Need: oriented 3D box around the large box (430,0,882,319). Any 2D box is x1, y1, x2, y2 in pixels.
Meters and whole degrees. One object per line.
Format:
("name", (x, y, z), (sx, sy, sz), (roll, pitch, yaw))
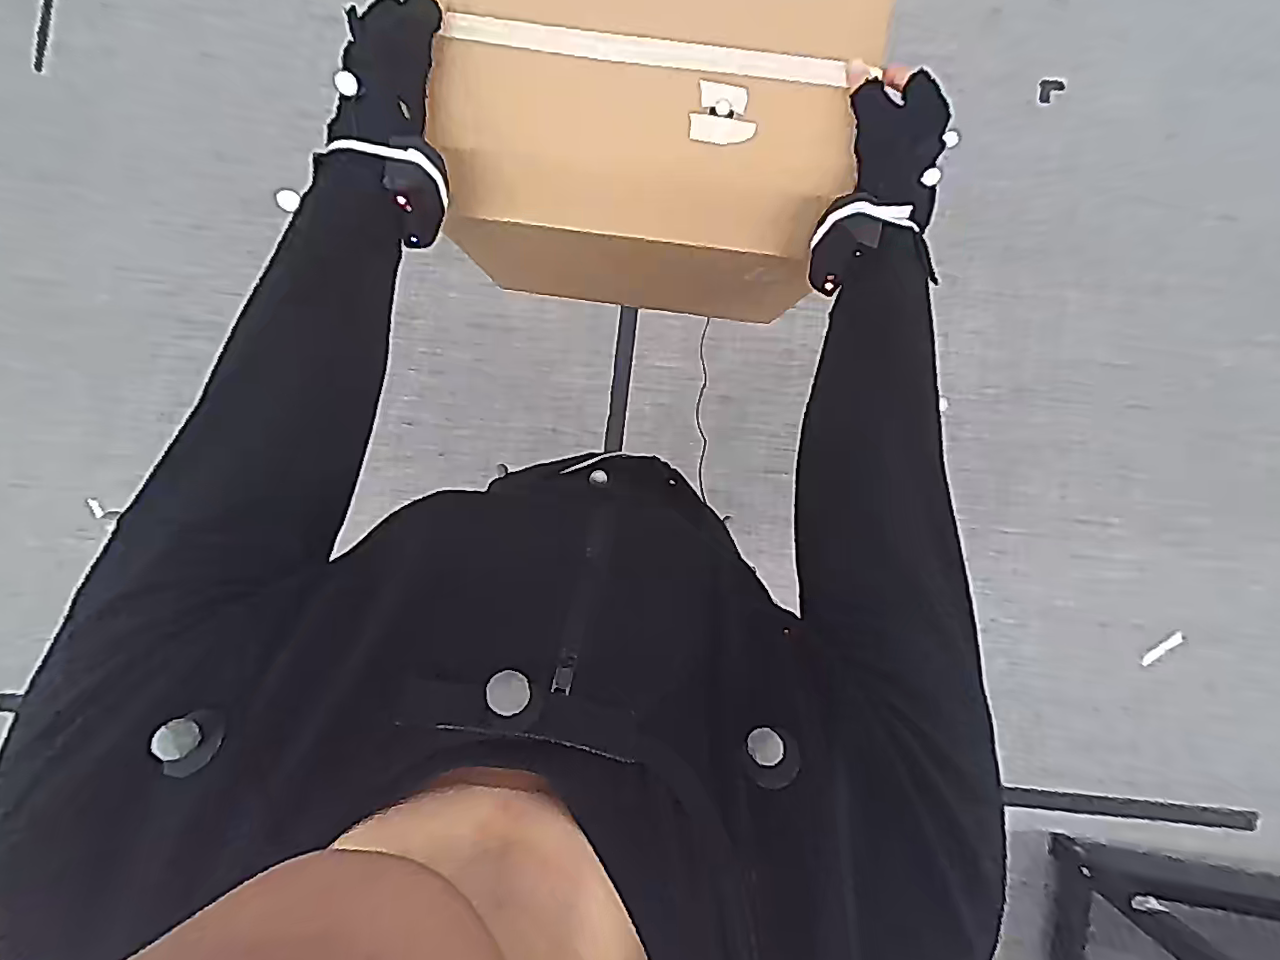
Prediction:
("large box", (0.011, -0.394, 0.641), (0.408, 0.320, 0.320), (7, 97, -2))
